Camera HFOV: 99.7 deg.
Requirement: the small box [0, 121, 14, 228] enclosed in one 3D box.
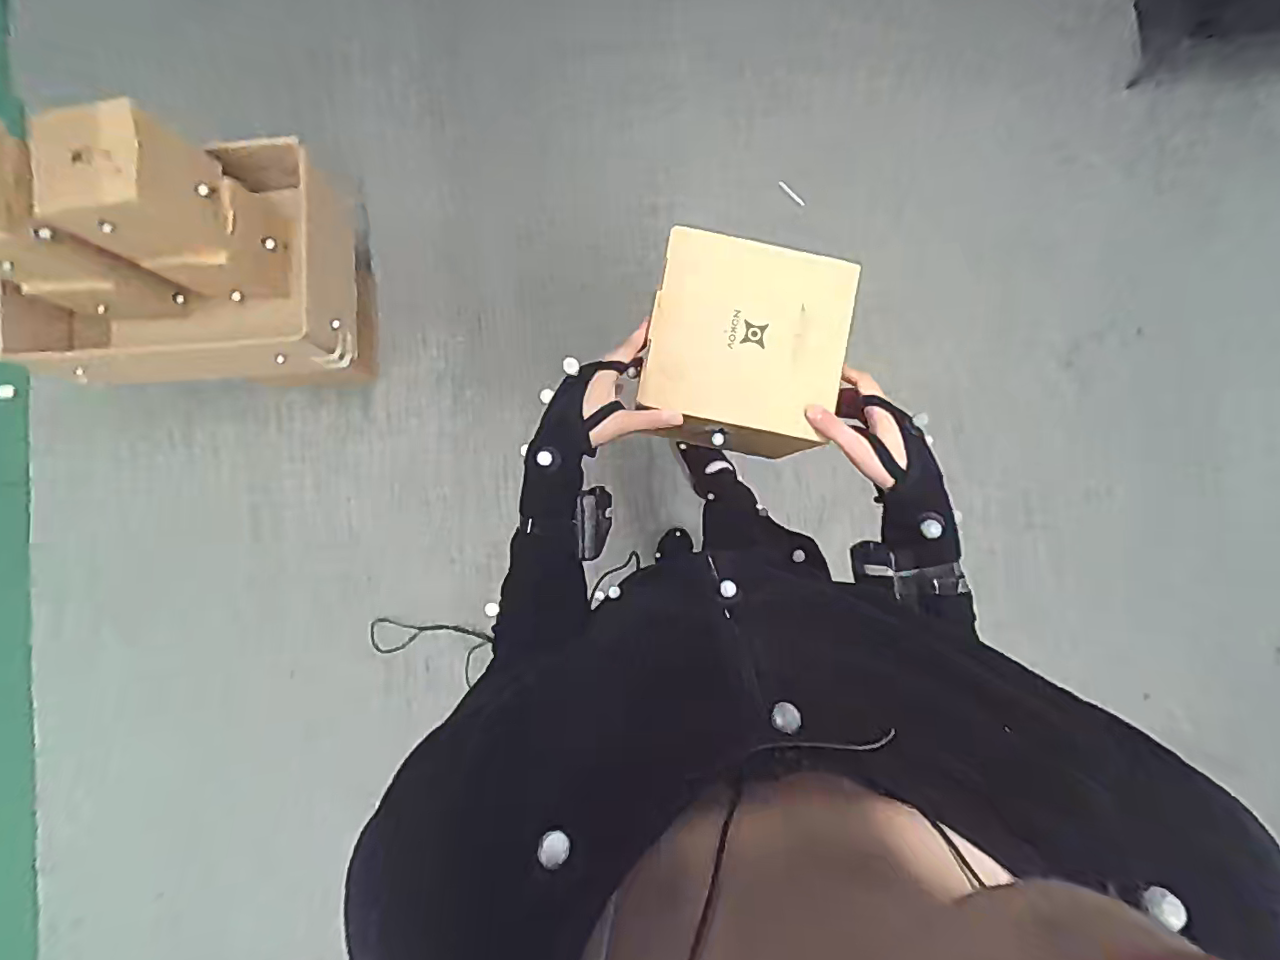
[{"bbox_3d":[-1.058,-0.481,0.765,0.168,0.176,0.179,-5,87,2],"label":"small box"}]
